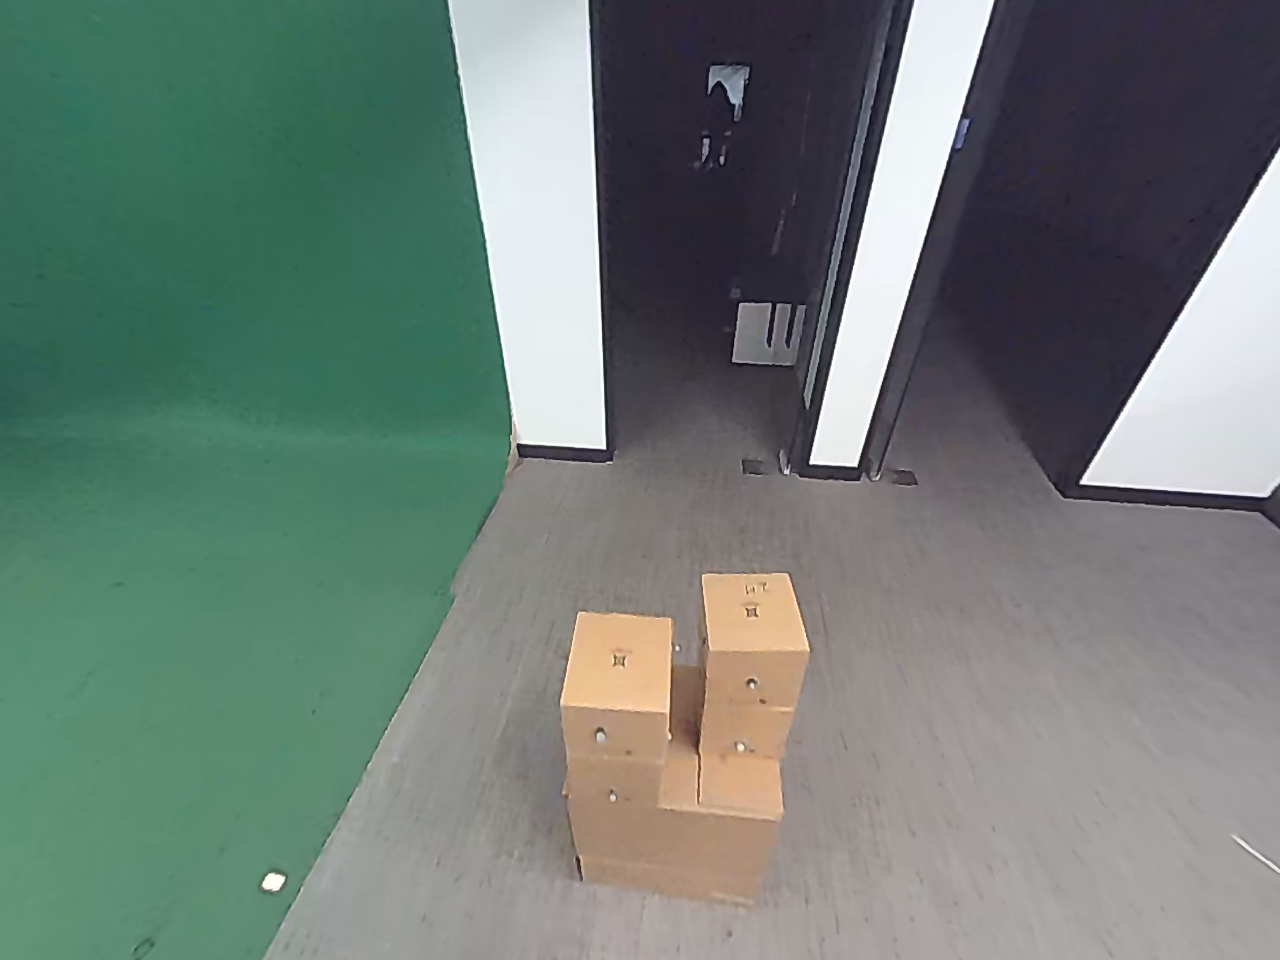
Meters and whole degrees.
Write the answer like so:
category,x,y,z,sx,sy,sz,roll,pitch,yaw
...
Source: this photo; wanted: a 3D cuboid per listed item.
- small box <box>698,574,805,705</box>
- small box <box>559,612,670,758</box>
category,x,y,z,sx,sy,sz,roll,pitch,yaw
small box,0.196,0.294,0.998,0.168,0.176,0.179,0,36,2
small box,-0.035,0.351,0.924,0.168,0.176,0.179,3,39,3
